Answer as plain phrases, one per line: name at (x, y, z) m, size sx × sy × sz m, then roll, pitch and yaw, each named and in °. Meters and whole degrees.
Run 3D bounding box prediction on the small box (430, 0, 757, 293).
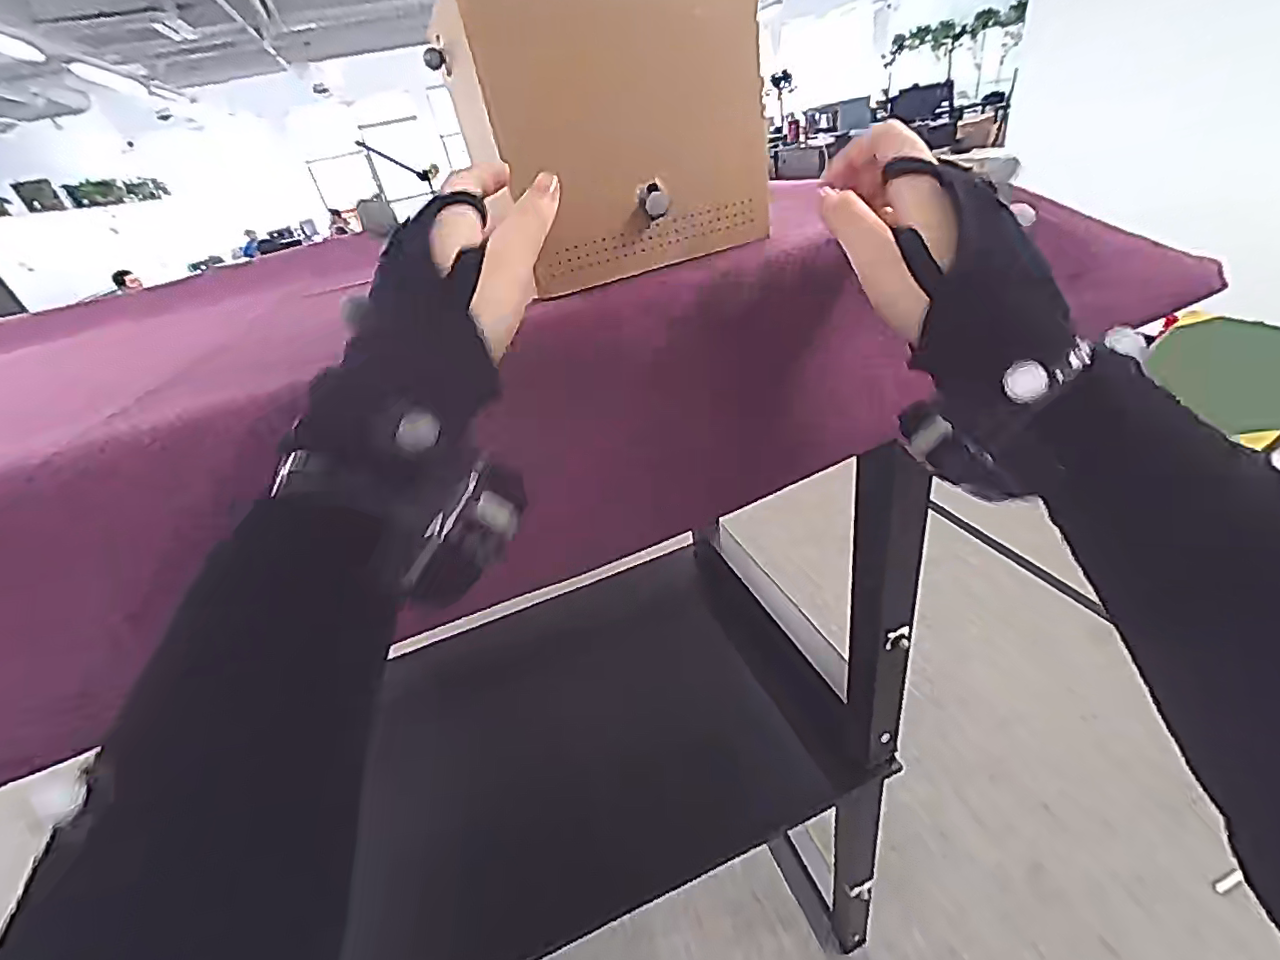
small box at (-0.030, -0.249, 0.387) m, size 0.179 × 0.176 × 0.168 m, roll -21°, pitch 32°, yaw -13°
